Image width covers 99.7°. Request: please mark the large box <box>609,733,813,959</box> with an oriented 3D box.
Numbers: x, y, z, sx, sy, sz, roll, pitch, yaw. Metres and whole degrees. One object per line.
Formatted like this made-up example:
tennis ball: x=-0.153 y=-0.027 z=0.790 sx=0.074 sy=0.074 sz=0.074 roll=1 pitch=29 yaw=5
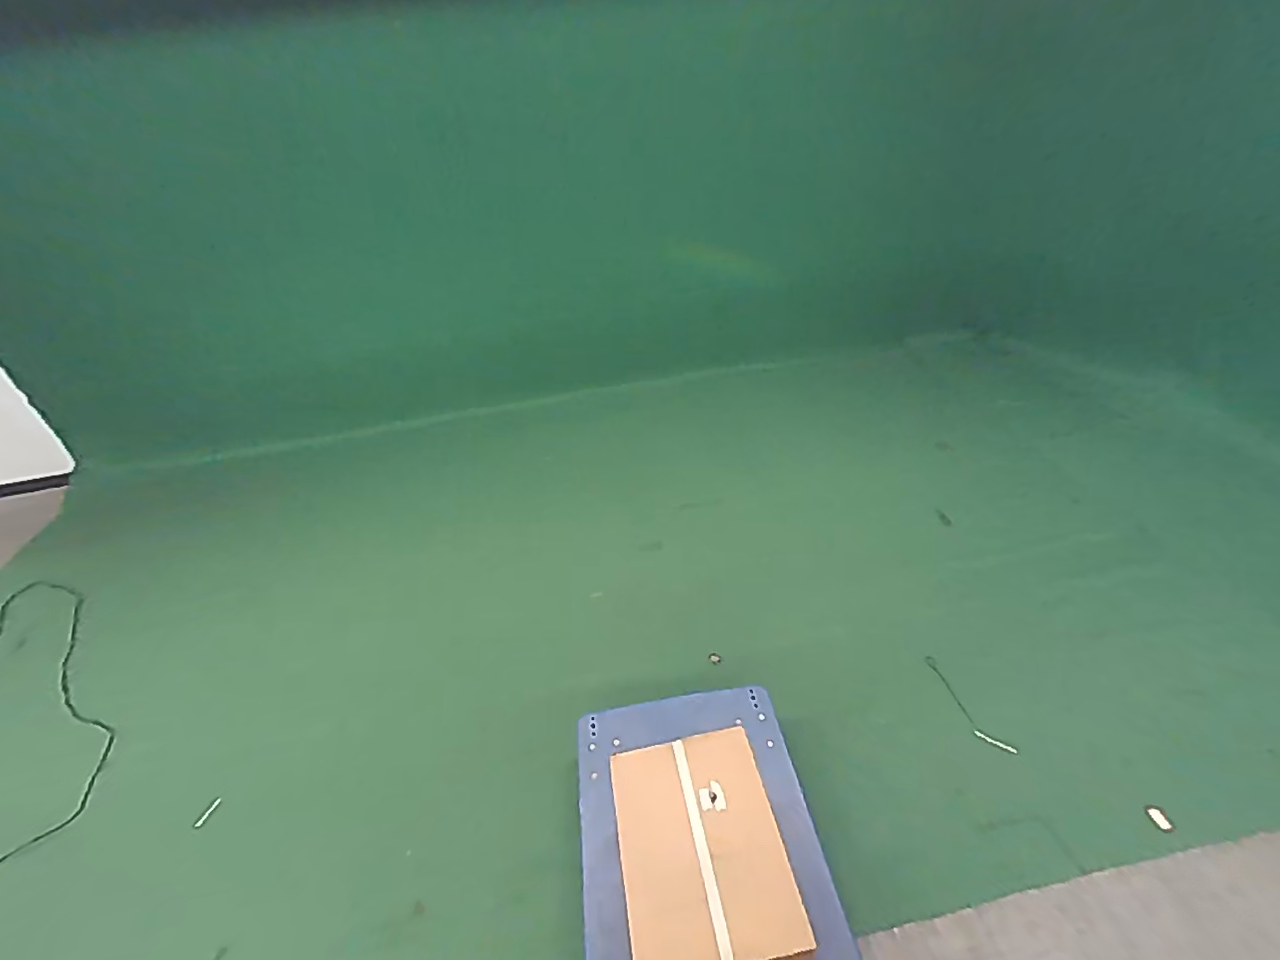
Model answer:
large box: x=0.133 y=0.837 z=1.150 sx=0.320 sy=0.320 sz=0.408 roll=-11 pitch=36 yaw=-4
